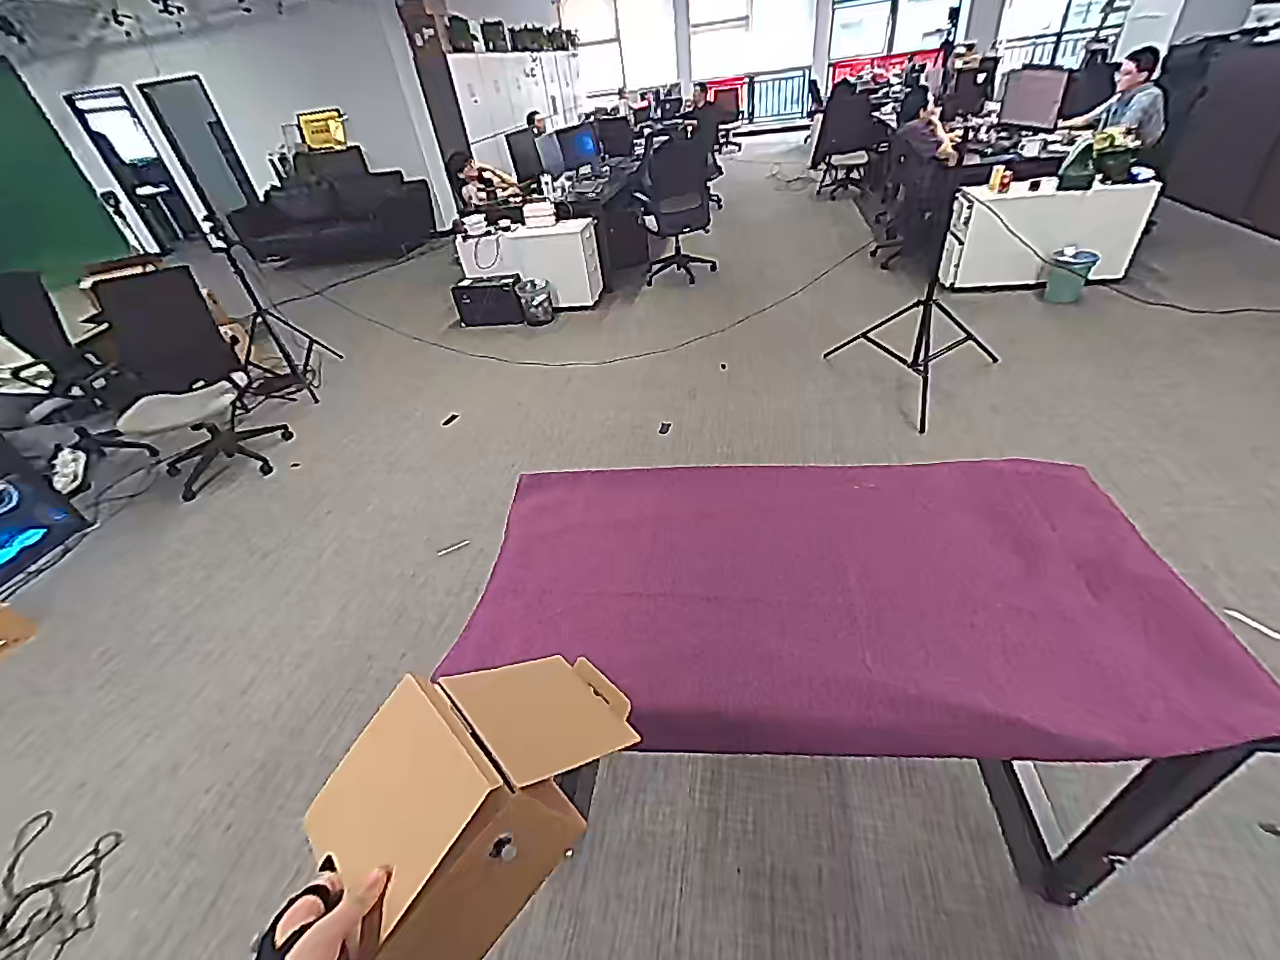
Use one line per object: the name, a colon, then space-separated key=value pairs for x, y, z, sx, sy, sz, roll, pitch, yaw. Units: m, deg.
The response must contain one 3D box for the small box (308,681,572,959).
small box: x=-0.193 y=0.355 z=0.566 sx=0.179 sy=0.176 sz=0.168 roll=-45 pitch=47 yaw=-18
